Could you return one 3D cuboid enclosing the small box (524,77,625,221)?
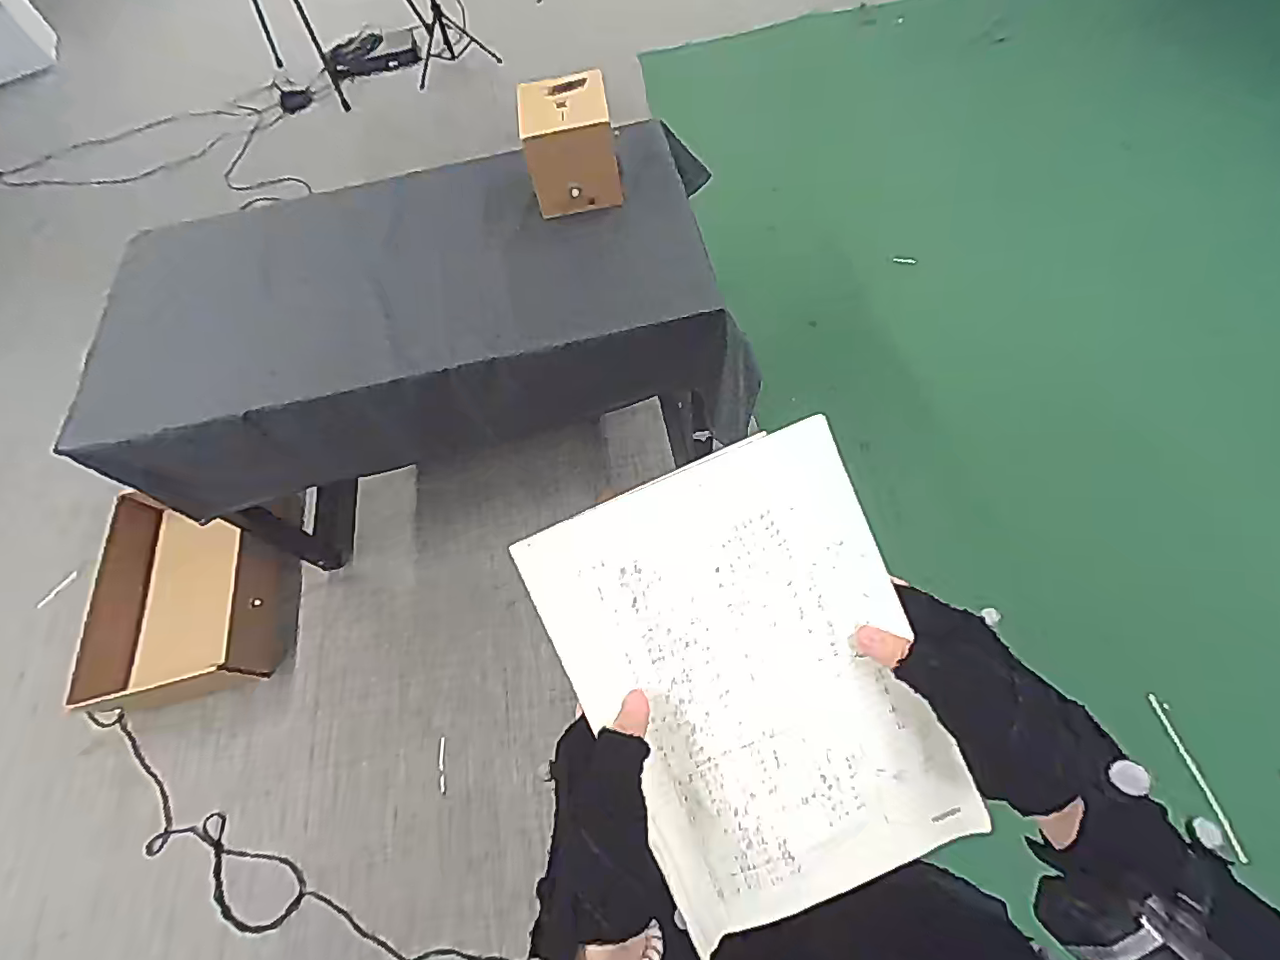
[{"bbox_3d":[-0.126,-0.650,1.070,0.168,0.176,0.179,-9,62,3],"label":"small box"}]
